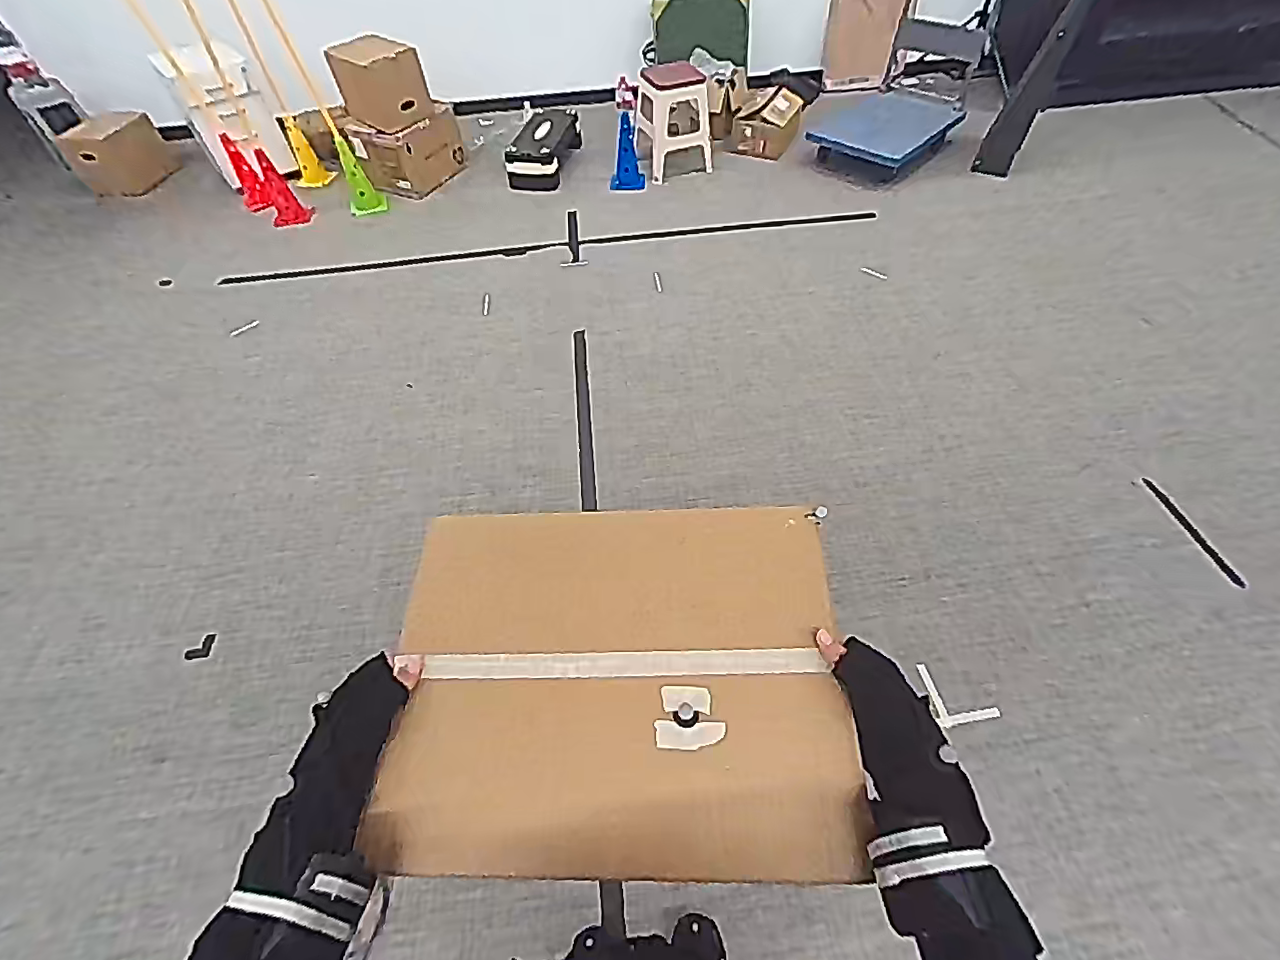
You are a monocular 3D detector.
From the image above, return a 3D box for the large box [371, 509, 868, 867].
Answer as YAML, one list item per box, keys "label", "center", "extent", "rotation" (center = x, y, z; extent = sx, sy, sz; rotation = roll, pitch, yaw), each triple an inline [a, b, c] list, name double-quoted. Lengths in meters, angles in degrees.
- label: "large box"
  center: [-0.013, 0.247, 0.628]
  extent: [0.408, 0.320, 0.320]
  rotation: [-2, 58, 3]
